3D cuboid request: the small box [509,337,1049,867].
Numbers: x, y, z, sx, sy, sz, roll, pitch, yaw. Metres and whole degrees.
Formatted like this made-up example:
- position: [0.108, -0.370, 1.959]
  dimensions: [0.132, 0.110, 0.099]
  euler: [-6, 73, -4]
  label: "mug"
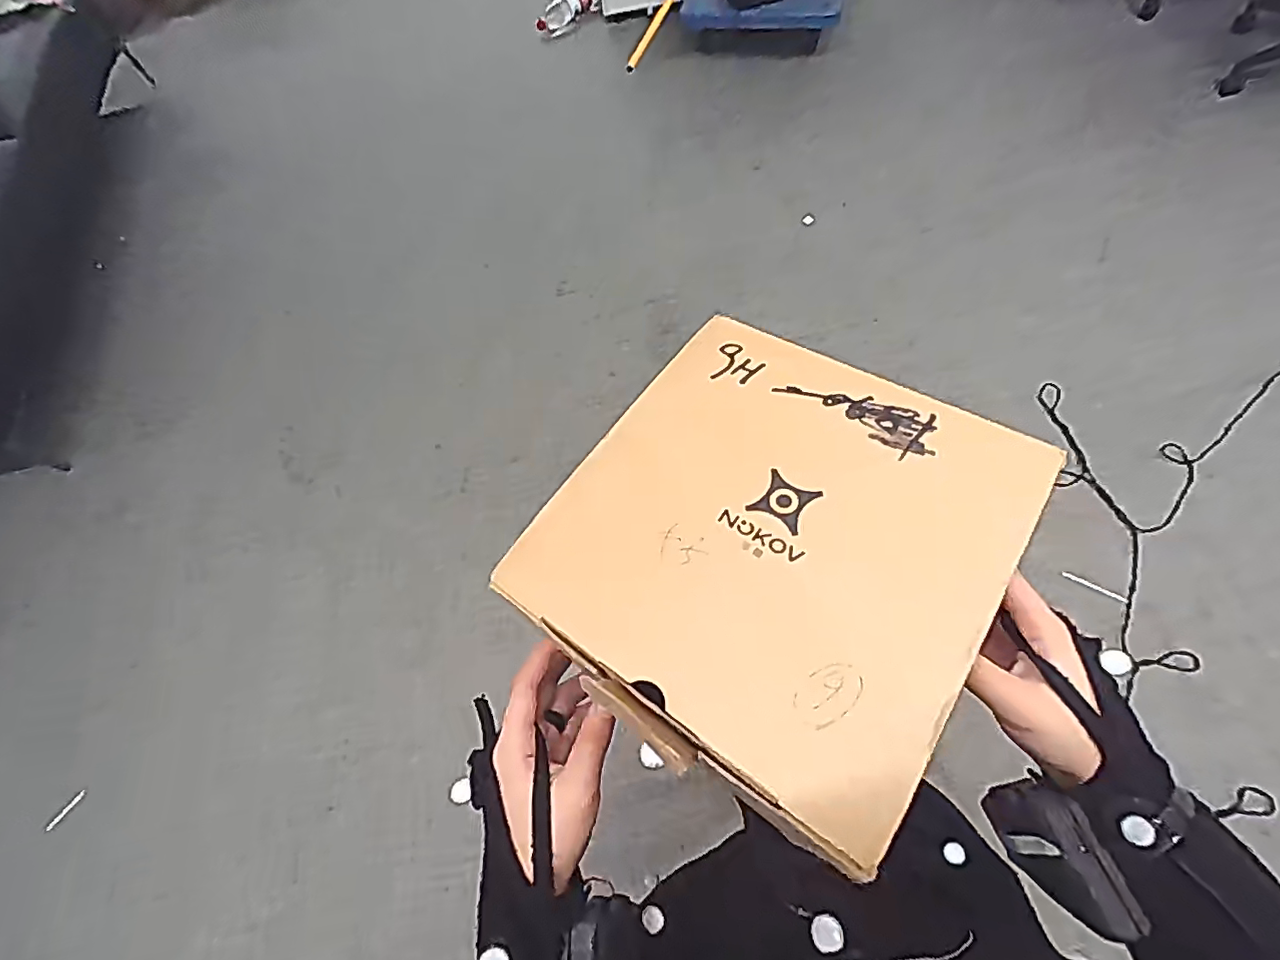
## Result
- position: [0.068, 0.063, 0.296]
  dimensions: [0.168, 0.176, 0.179]
  euler: [30, 68, 24]
  label: "small box"
